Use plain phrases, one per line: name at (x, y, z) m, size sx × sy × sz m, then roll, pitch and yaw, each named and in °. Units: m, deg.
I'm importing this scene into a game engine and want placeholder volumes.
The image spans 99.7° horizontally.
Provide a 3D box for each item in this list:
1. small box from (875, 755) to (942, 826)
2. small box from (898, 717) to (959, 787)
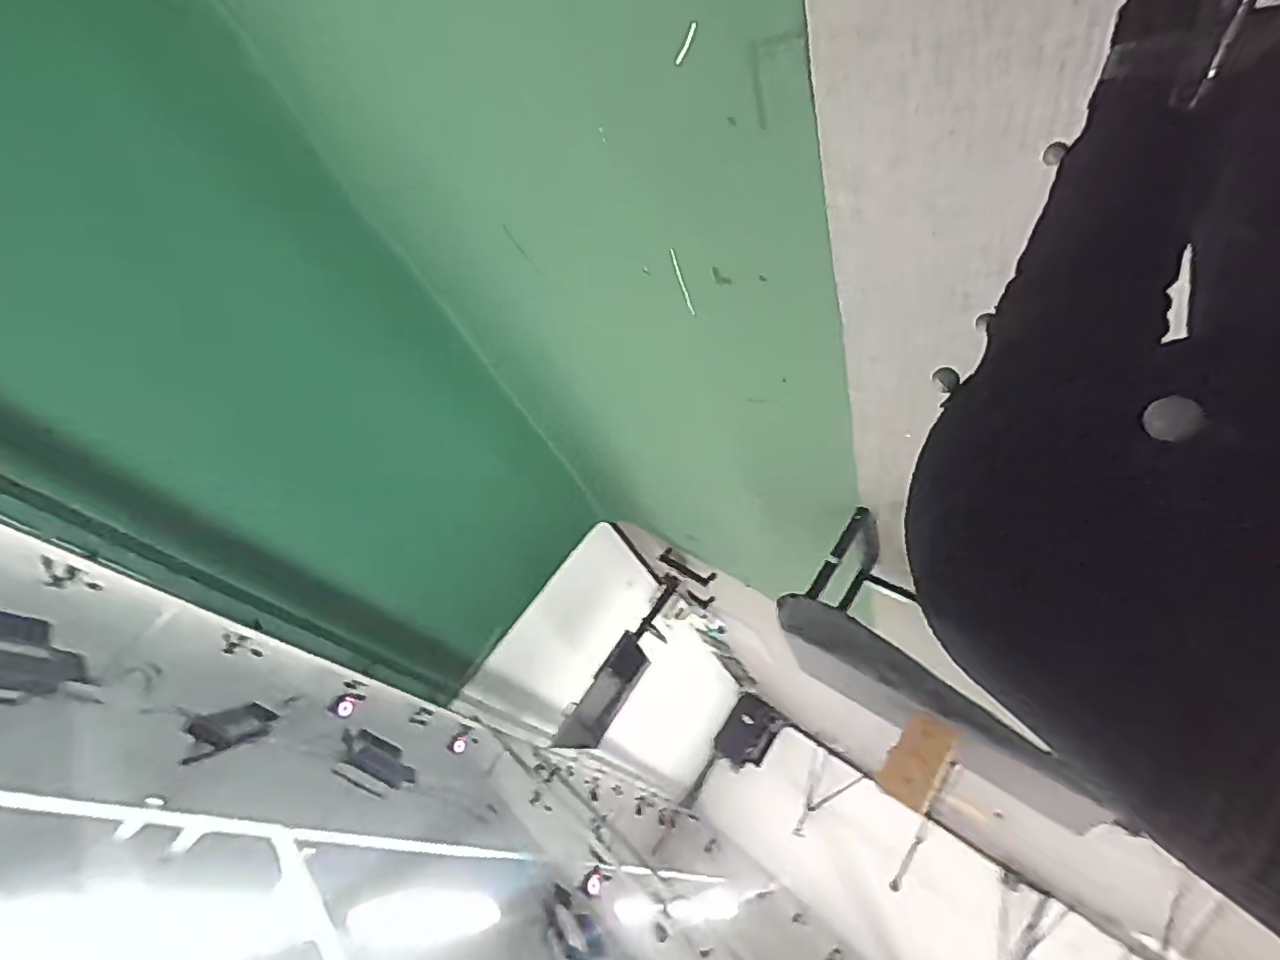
small box at (1.027, 1.180, 2.071) m, size 0.179 × 0.176 × 0.168 m, roll 23°, pitch 158°, yaw 38°
small box at (1.130, 1.060, 2.117) m, size 0.168 × 0.176 × 0.179 m, roll 24°, pitch 157°, yaw 39°
